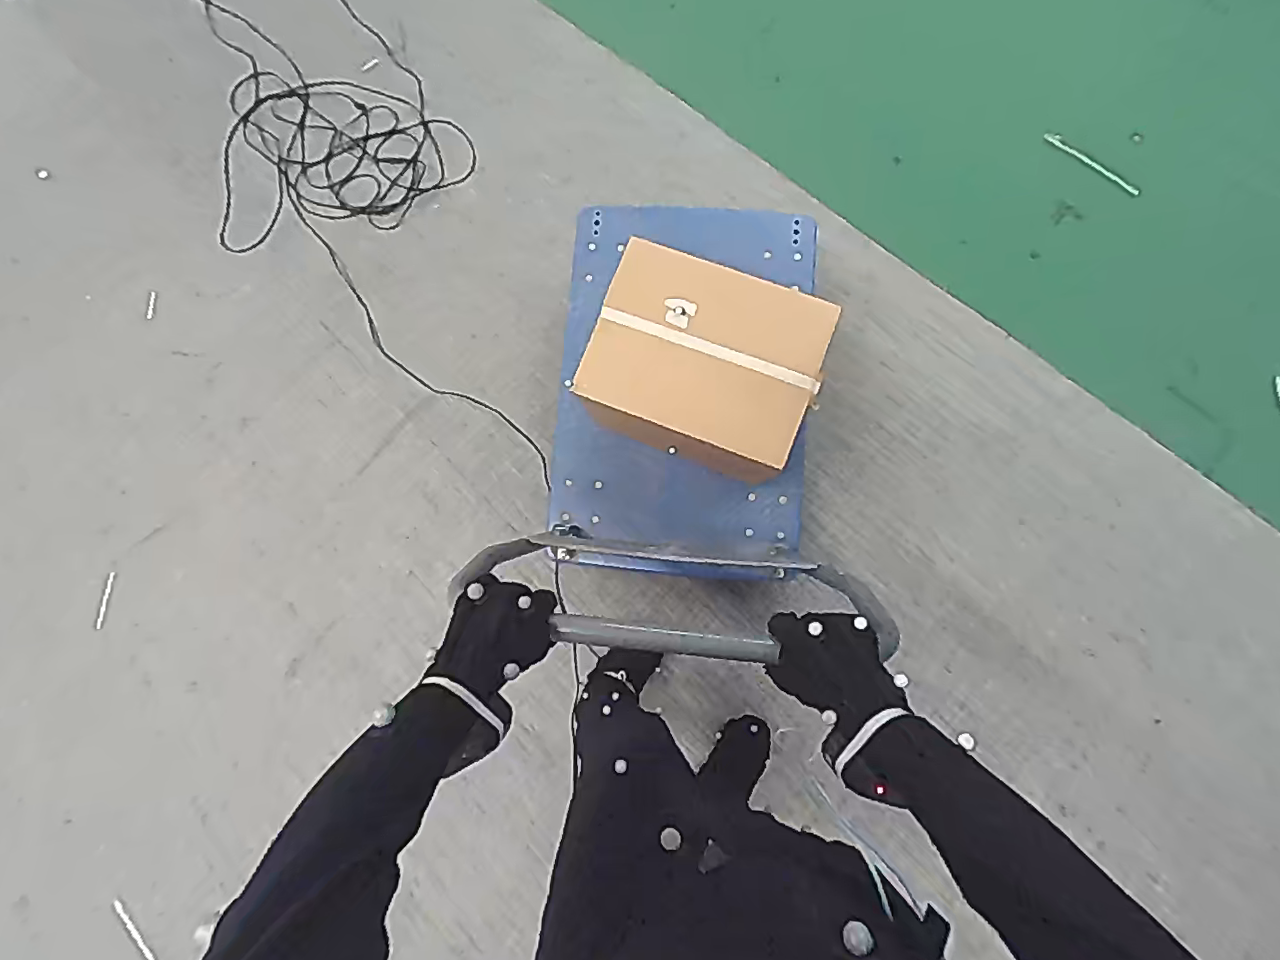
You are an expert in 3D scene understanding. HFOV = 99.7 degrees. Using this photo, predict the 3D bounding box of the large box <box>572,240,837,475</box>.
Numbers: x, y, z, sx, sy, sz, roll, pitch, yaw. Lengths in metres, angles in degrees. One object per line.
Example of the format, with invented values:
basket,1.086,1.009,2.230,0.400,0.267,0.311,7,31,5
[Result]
large box,0.127,-0.223,1.105,0.408,0.320,0.320,20,87,7
